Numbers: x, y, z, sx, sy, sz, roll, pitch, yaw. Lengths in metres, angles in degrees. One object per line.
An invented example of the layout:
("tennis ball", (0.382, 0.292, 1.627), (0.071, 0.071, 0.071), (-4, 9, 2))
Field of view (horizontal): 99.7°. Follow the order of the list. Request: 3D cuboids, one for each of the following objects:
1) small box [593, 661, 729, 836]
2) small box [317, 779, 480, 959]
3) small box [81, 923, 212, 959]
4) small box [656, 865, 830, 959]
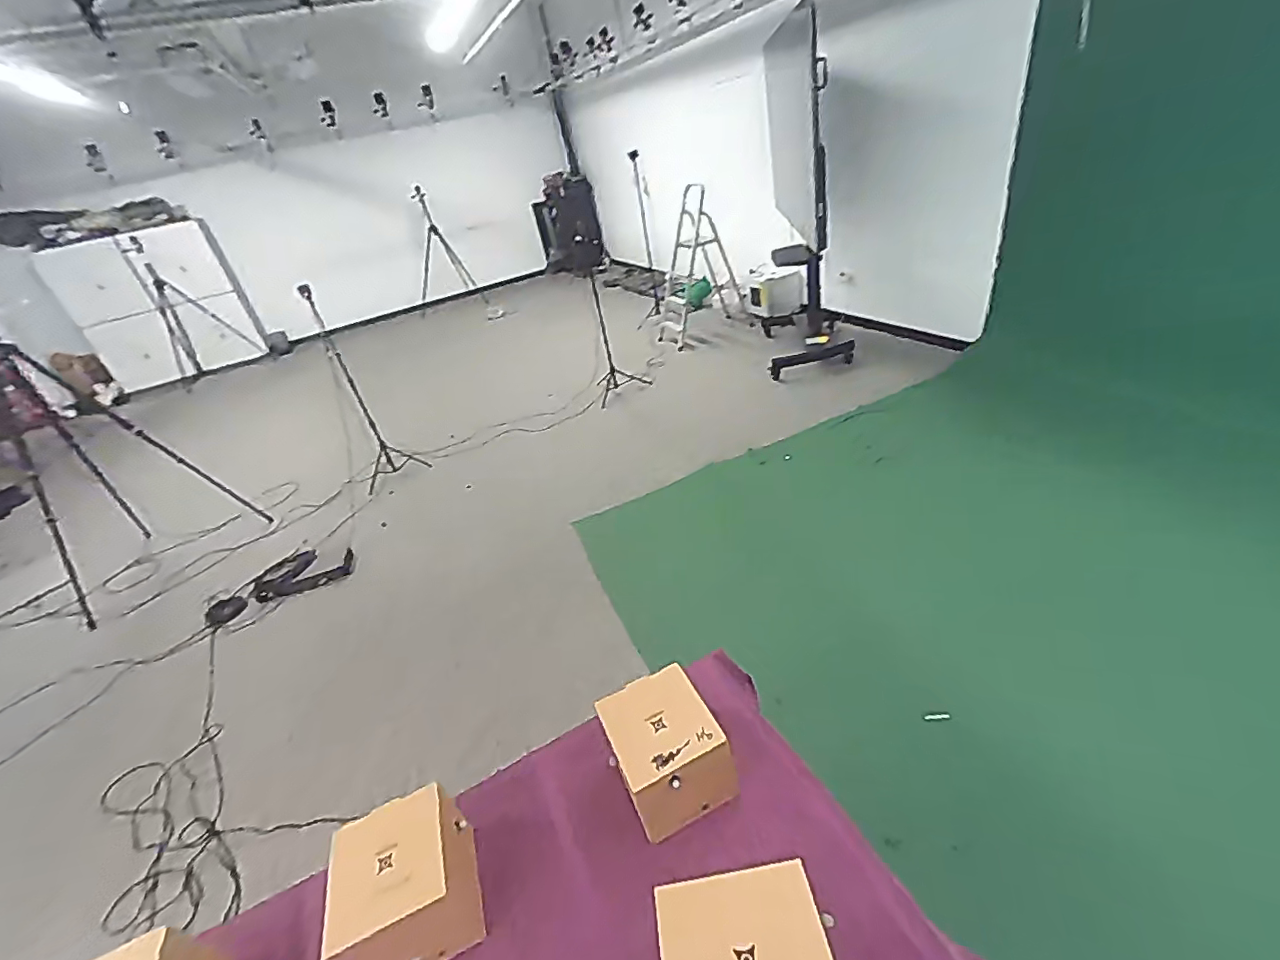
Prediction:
("small box", (0.037, 0.457, 0.927), (0.168, 0.176, 0.179), (-22, 35, -15))
("small box", (-0.358, 0.609, 0.821), (0.168, 0.176, 0.179), (-21, 35, -13))
("small box", (-0.692, 0.746, 0.708), (0.168, 0.176, 0.179), (-21, 35, -15))
("small box", (0.114, 0.543, 0.554), (0.168, 0.176, 0.179), (-11, 29, 1))
